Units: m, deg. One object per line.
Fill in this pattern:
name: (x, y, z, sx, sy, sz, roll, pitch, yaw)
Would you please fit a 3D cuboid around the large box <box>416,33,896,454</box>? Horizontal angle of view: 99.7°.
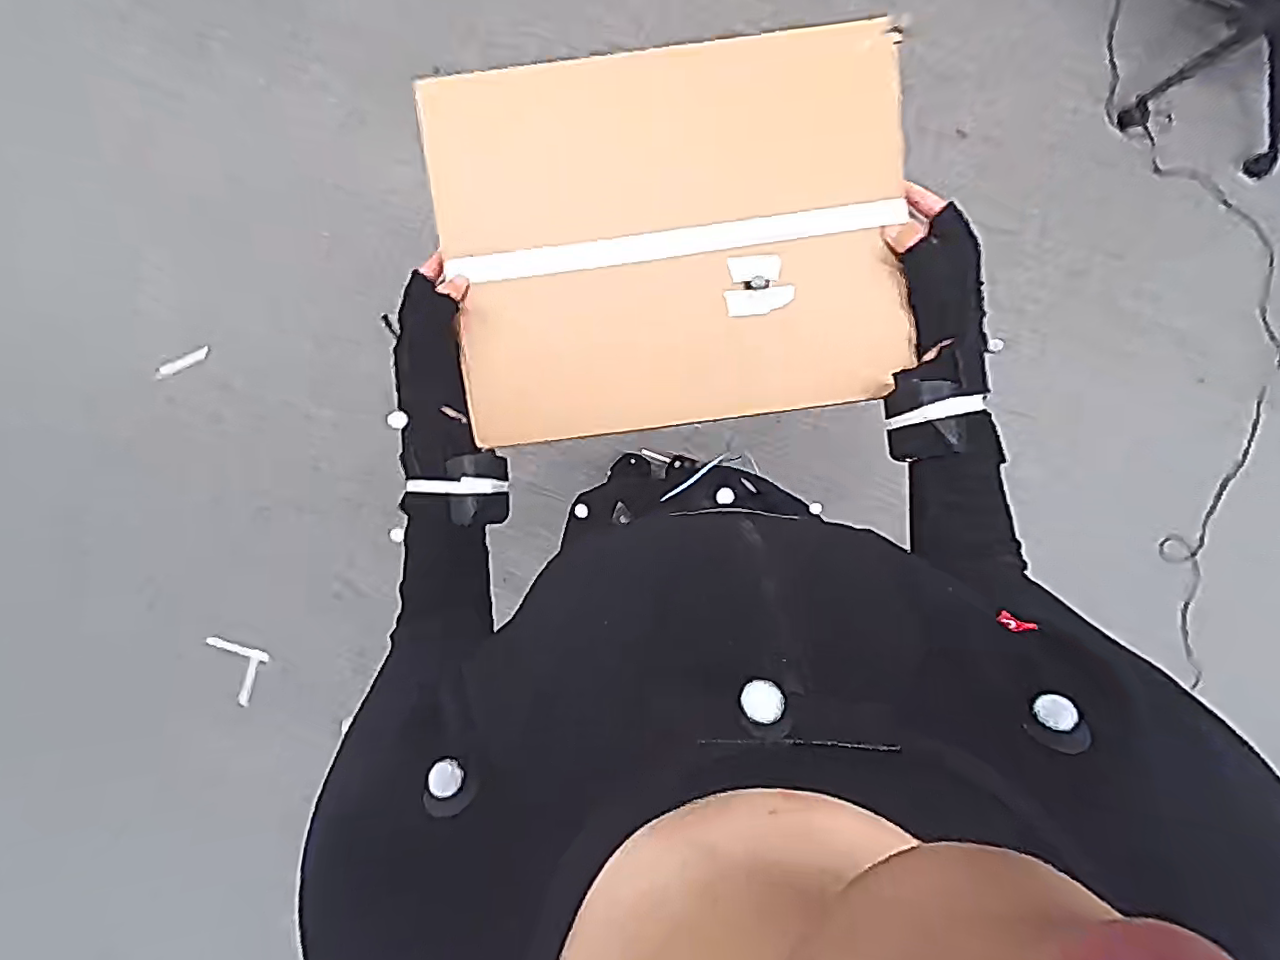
large box: (0.018, -0.225, 0.637, 0.408, 0.320, 0.320, -9, 99, 0)
